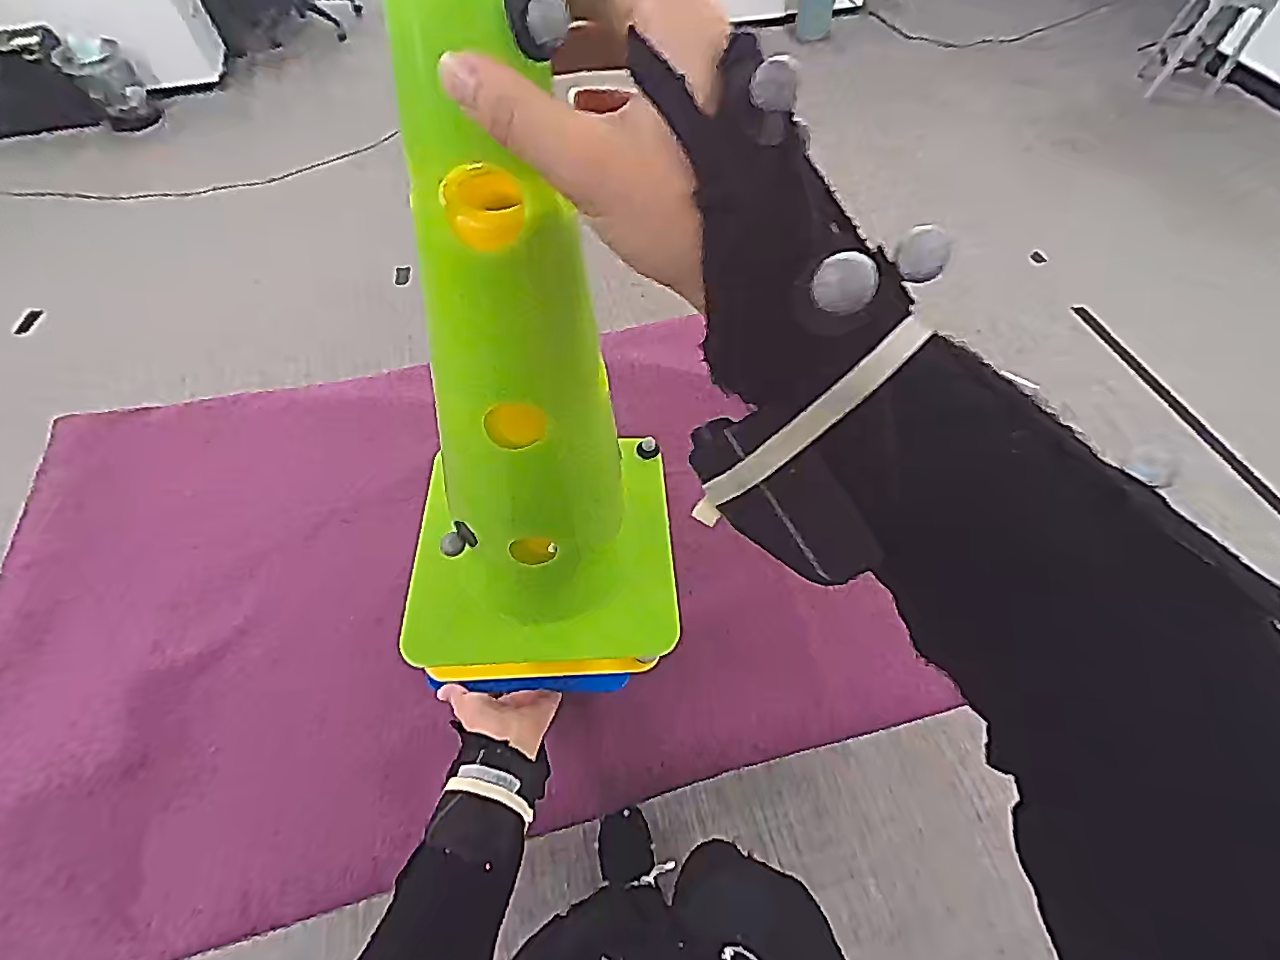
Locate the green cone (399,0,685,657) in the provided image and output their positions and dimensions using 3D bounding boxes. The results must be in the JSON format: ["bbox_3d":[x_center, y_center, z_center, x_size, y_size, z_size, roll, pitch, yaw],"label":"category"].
[{"bbox_3d":[-0.063,-0.061,0.290,0.200,0.368,0.202,-2,56,-5],"label":"green cone"}]
